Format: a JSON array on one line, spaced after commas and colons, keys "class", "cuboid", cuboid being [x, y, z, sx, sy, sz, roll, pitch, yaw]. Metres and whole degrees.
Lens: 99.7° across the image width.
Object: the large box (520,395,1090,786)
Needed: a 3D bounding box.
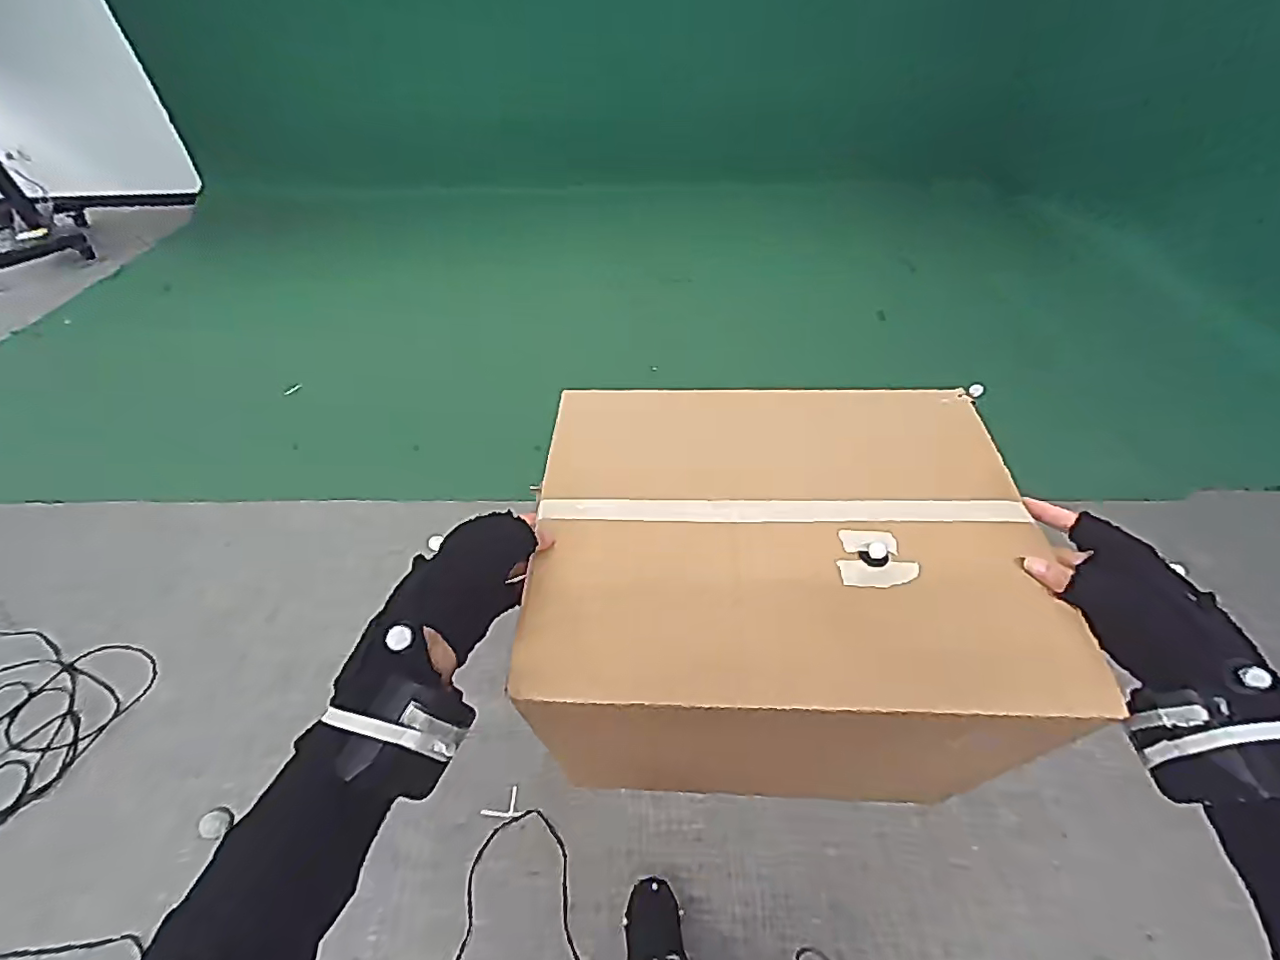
[{"class": "large box", "cuboid": [0.119, 0.127, 0.583, 0.408, 0.320, 0.320, 0, 51, 3]}]
